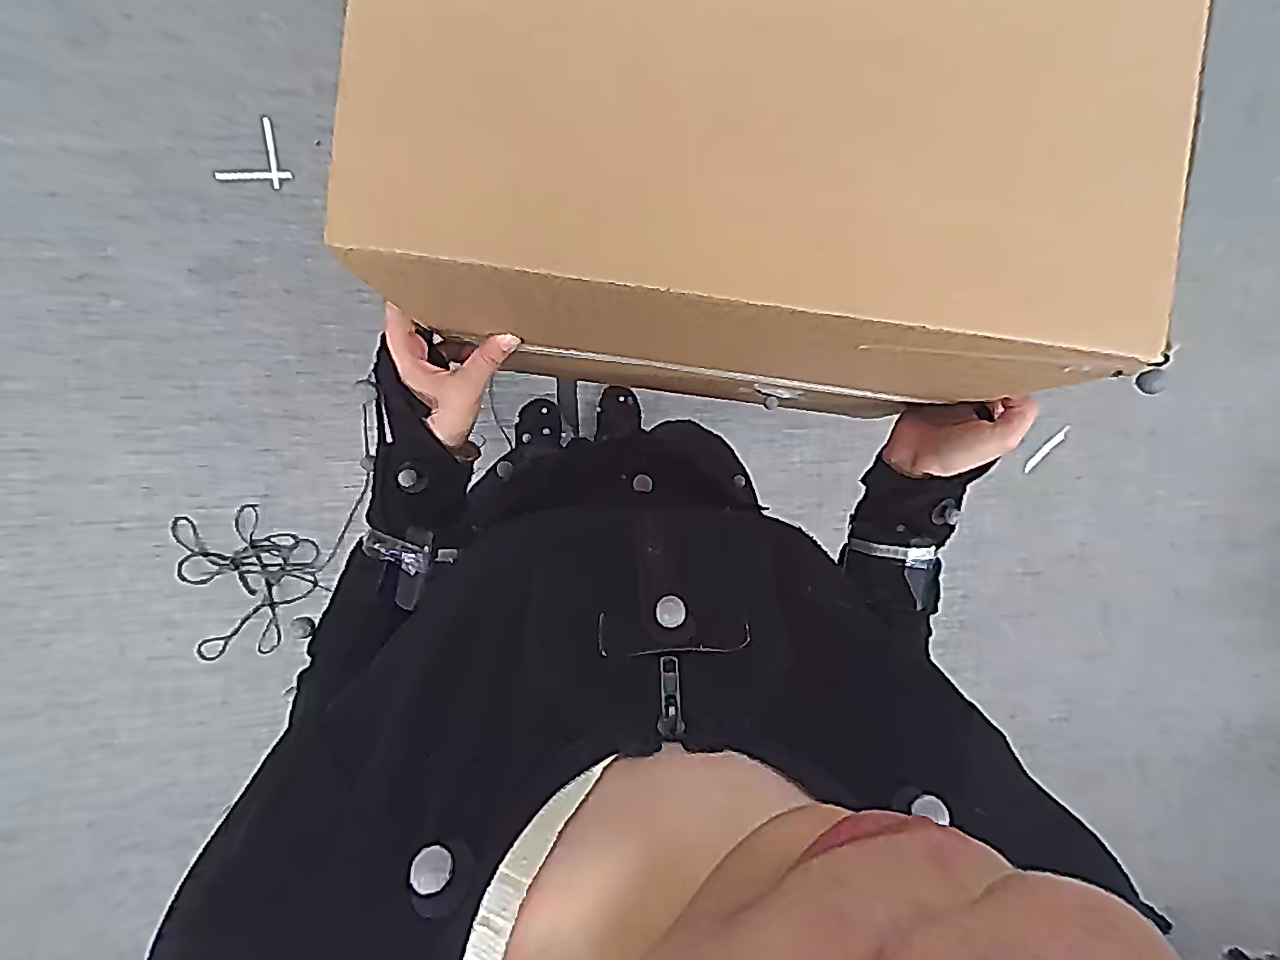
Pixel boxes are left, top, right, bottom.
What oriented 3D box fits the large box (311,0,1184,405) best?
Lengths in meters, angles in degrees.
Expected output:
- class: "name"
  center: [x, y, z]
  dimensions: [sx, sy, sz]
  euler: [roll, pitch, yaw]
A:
- class: "large box"
  center: [0.054, -0.242, 0.394]
  dimensions: [0.408, 0.320, 0.320]
  euler: [5, 93, -3]
